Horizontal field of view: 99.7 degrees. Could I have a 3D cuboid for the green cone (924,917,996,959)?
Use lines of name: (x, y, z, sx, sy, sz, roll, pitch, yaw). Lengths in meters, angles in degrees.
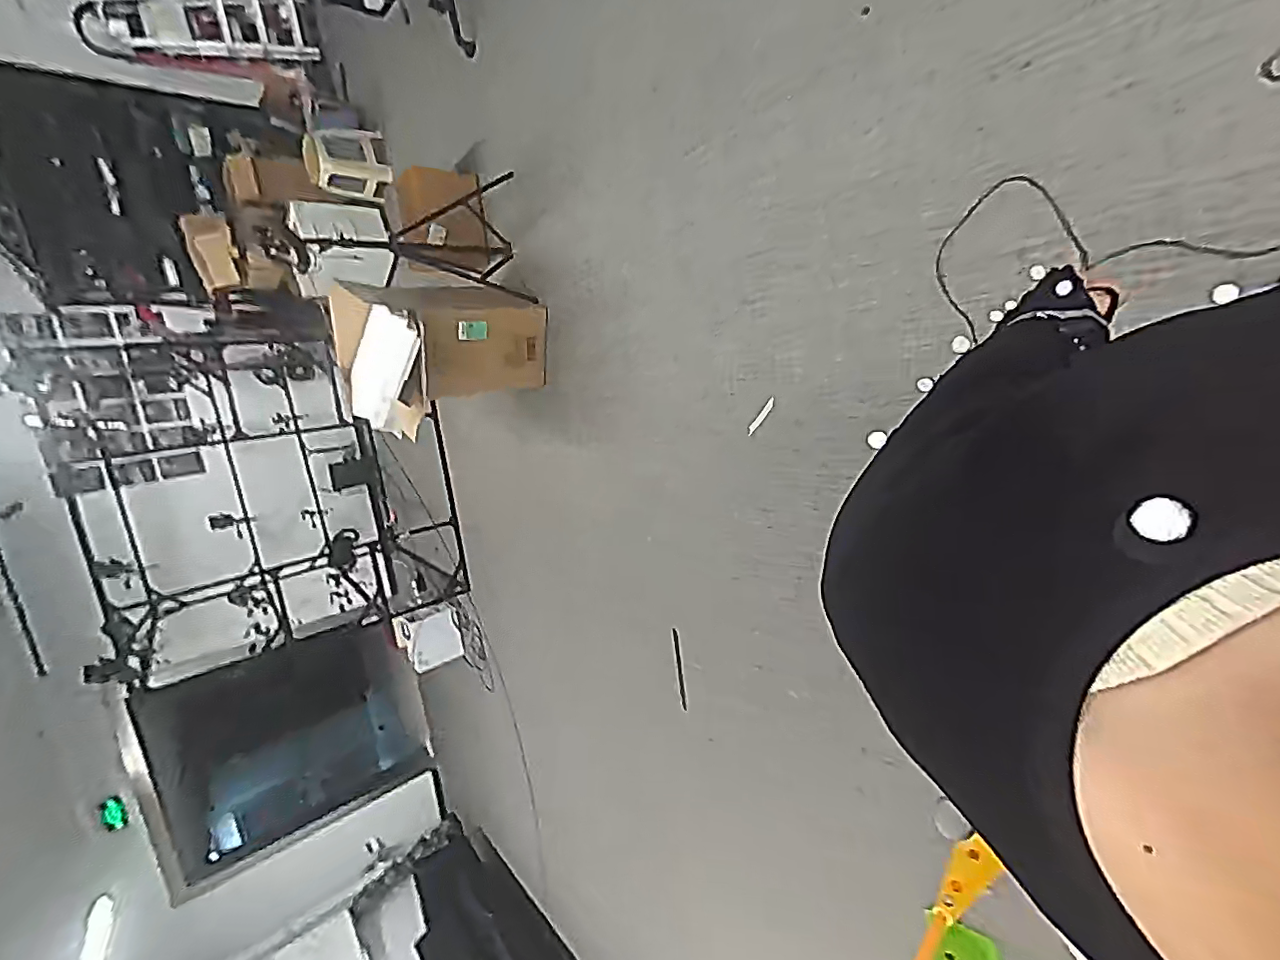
green cone: (0.812, 1.442, 1.470, 0.200, 0.368, 0.202, -14, 89, 53)
